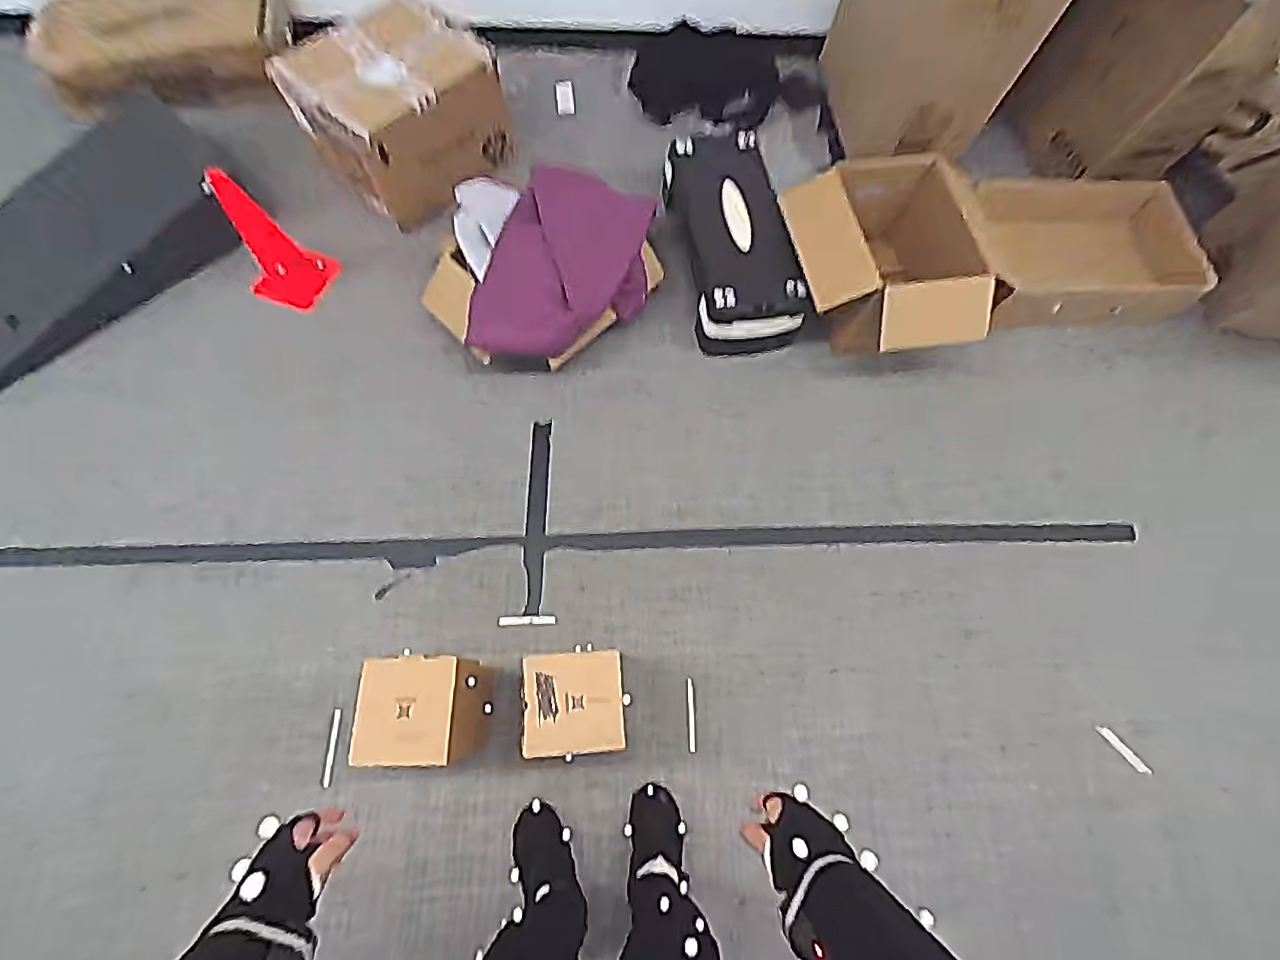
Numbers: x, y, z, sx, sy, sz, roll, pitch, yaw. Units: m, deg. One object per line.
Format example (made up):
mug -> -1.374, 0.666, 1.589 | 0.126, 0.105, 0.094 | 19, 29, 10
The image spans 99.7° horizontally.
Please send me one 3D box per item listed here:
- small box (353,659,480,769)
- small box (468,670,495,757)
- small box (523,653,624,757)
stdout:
small box -> -0.405, 0.433, 1.015 | 0.168, 0.176, 0.179 | -1, 70, -2
small box -> -0.420, 0.495, 1.165 | 0.179, 0.176, 0.168 | 1, 69, -2
small box -> -0.121, 0.426, 1.030 | 0.179, 0.176, 0.168 | -3, 69, -4
